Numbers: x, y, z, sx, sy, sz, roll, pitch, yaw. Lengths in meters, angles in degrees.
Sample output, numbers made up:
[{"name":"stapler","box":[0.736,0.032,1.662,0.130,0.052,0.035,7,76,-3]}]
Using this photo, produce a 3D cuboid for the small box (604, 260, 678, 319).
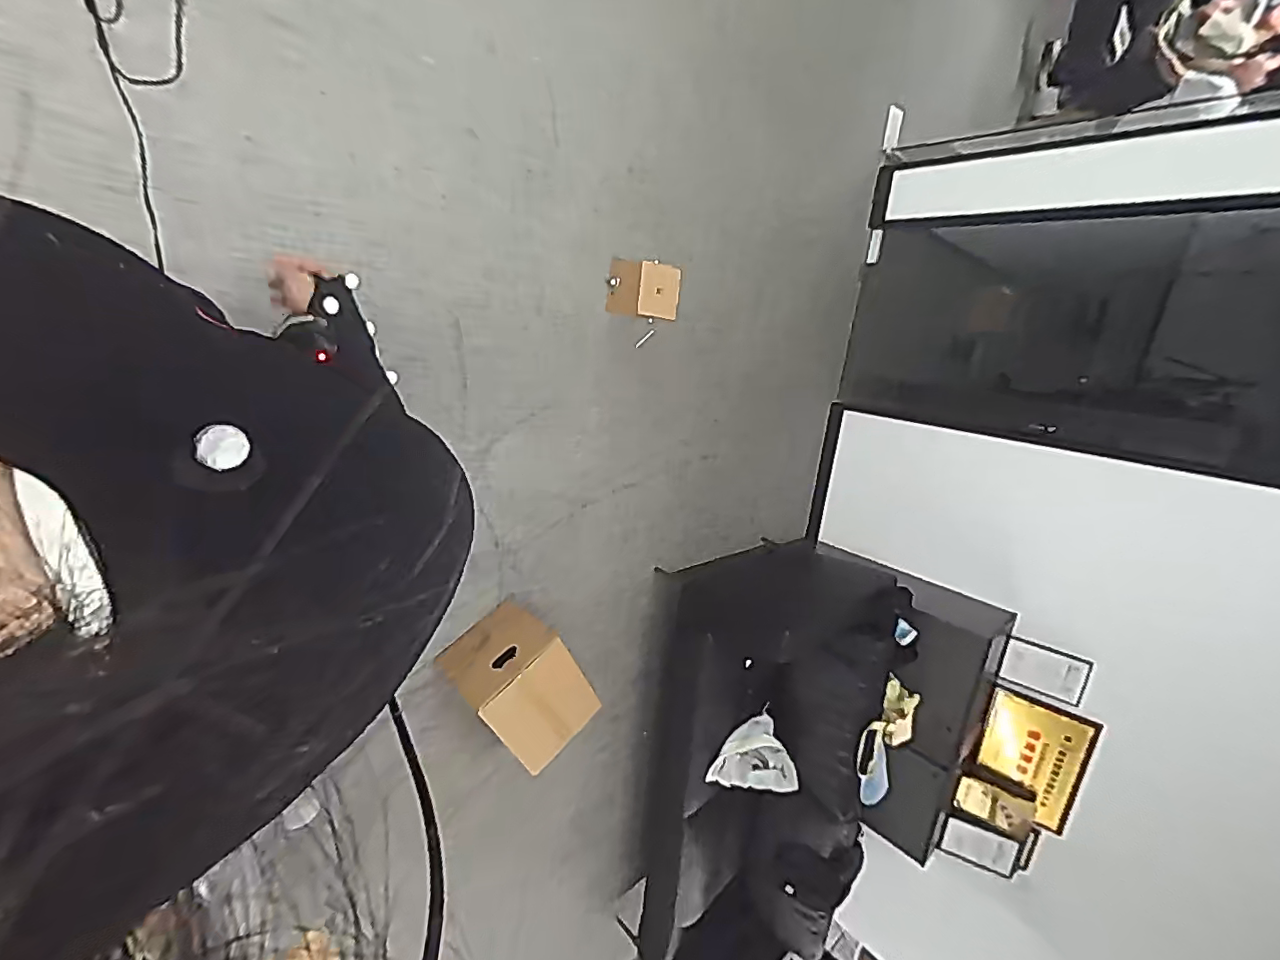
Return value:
[{"name":"small box","box":[0.001,-0.643,1.828,0.179,0.176,0.168,-7,109,-41]}]
